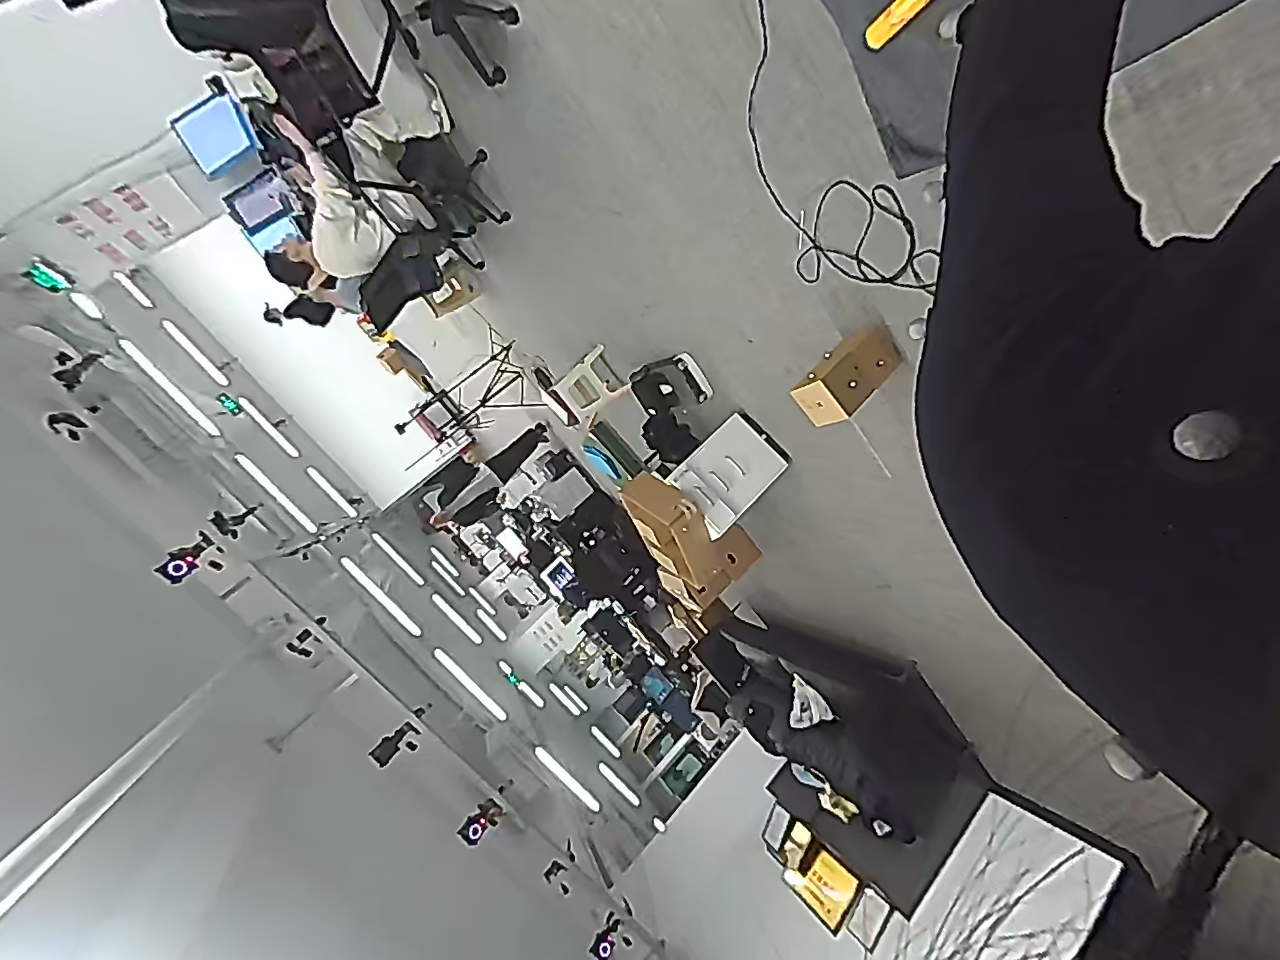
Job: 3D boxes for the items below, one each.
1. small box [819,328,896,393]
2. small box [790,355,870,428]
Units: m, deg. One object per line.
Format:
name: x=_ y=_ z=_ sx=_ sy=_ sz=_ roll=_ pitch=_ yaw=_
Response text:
small box: x=0.779 y=-0.413 z=1.928 sx=0.168 sy=0.176 sz=0.179 roll=49 pitch=163 yaw=-11
small box: x=0.664 y=-0.308 z=1.872 sx=0.168 sy=0.176 sz=0.179 roll=50 pitch=163 yaw=-9
